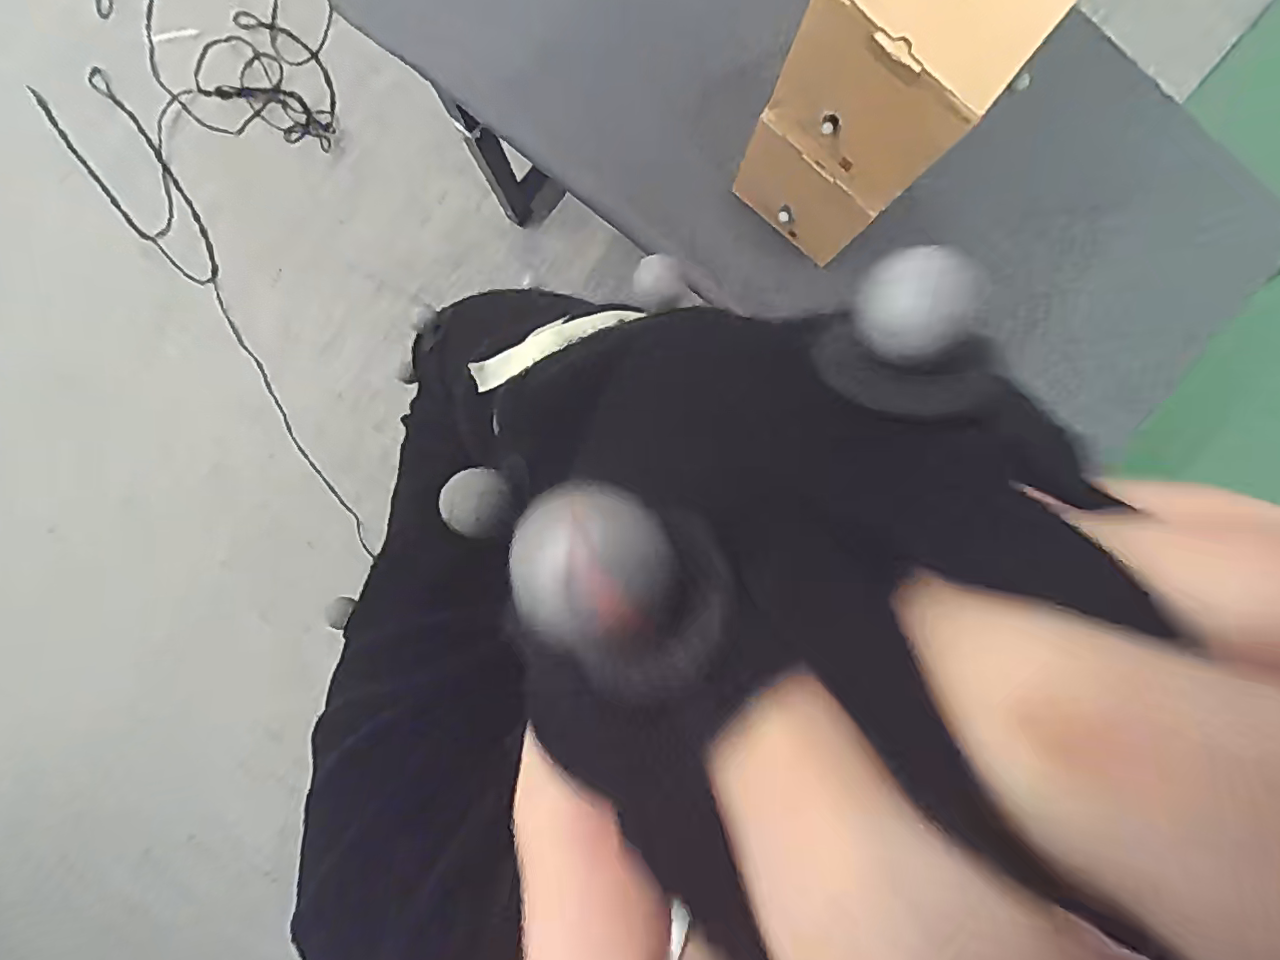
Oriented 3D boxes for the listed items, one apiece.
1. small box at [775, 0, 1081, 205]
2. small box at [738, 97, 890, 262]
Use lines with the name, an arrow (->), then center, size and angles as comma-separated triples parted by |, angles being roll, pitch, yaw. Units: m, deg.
small box -> 0.251, -0.400, 0.493 | 0.168, 0.176, 0.179 | 39, 92, -4
small box -> 0.242, -0.406, 0.655 | 0.168, 0.176, 0.179 | 39, 92, -3
